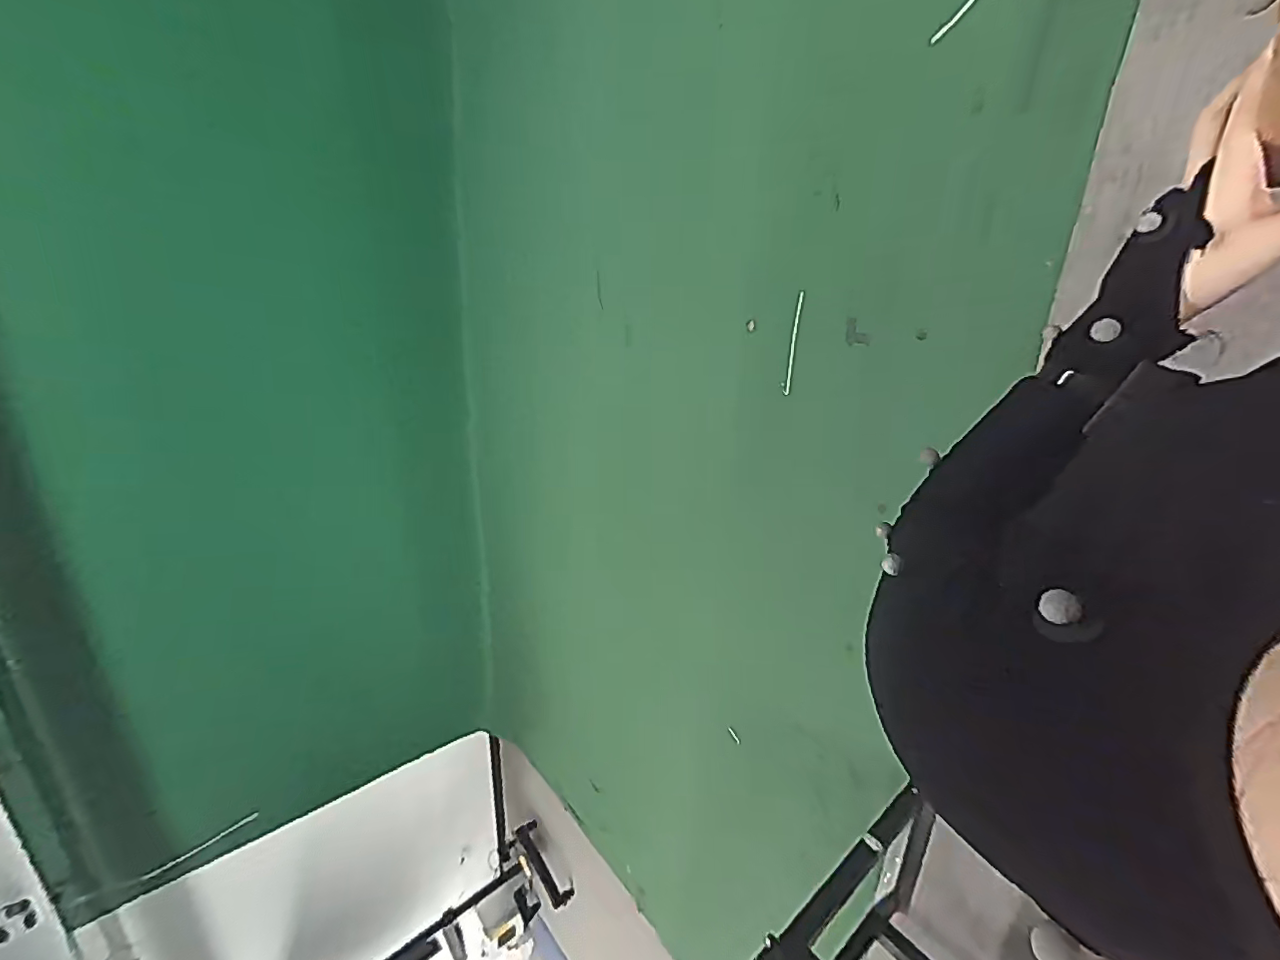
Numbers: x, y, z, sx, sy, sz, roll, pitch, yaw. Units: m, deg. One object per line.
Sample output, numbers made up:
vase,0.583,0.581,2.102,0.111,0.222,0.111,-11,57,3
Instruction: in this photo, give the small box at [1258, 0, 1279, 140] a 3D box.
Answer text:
small box,0.408,-0.278,0.233,0.168,0.176,0.179,13,95,46
